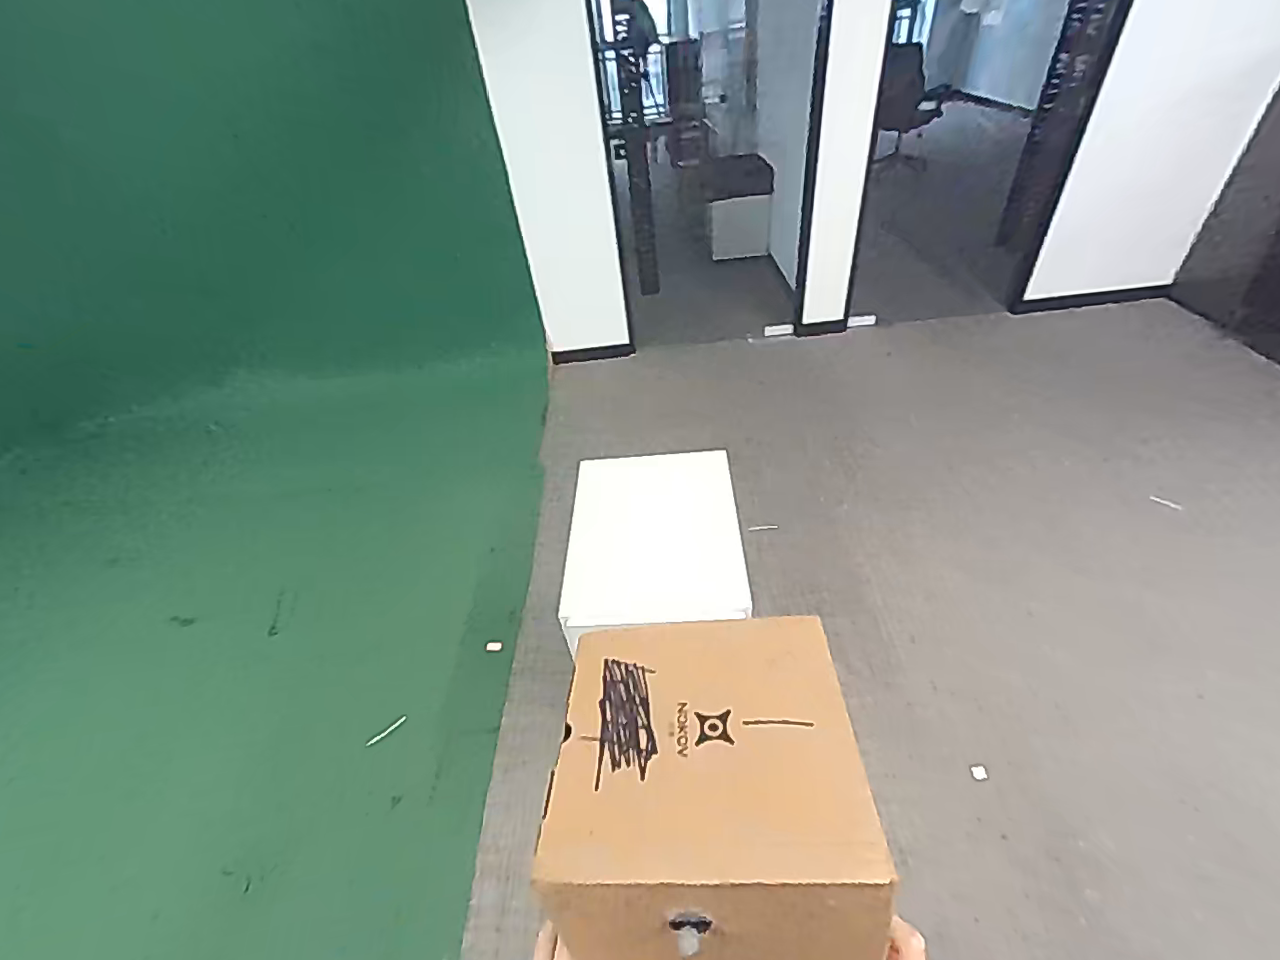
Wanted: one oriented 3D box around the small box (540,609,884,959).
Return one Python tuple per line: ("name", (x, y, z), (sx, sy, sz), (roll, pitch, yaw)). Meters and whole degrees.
("small box", (0.051, 0.212, 0.374), (0.179, 0.176, 0.168), (-5, 31, 8))
